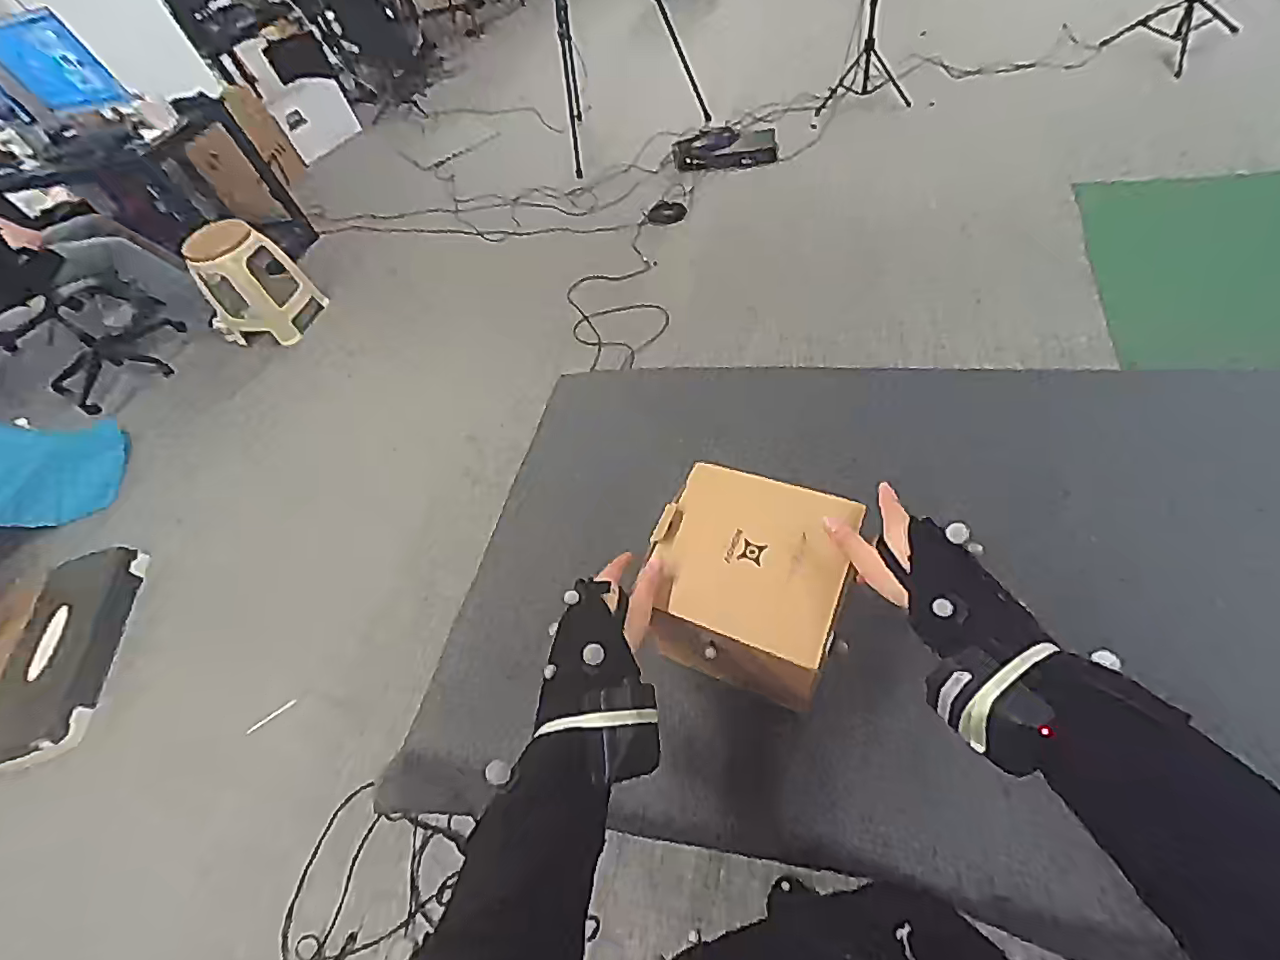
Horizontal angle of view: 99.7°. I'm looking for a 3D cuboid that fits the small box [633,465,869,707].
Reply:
[{"bbox_3d":[0.118,0.113,0.562,0.179,0.176,0.168,16,61,23],"label":"small box"}]
